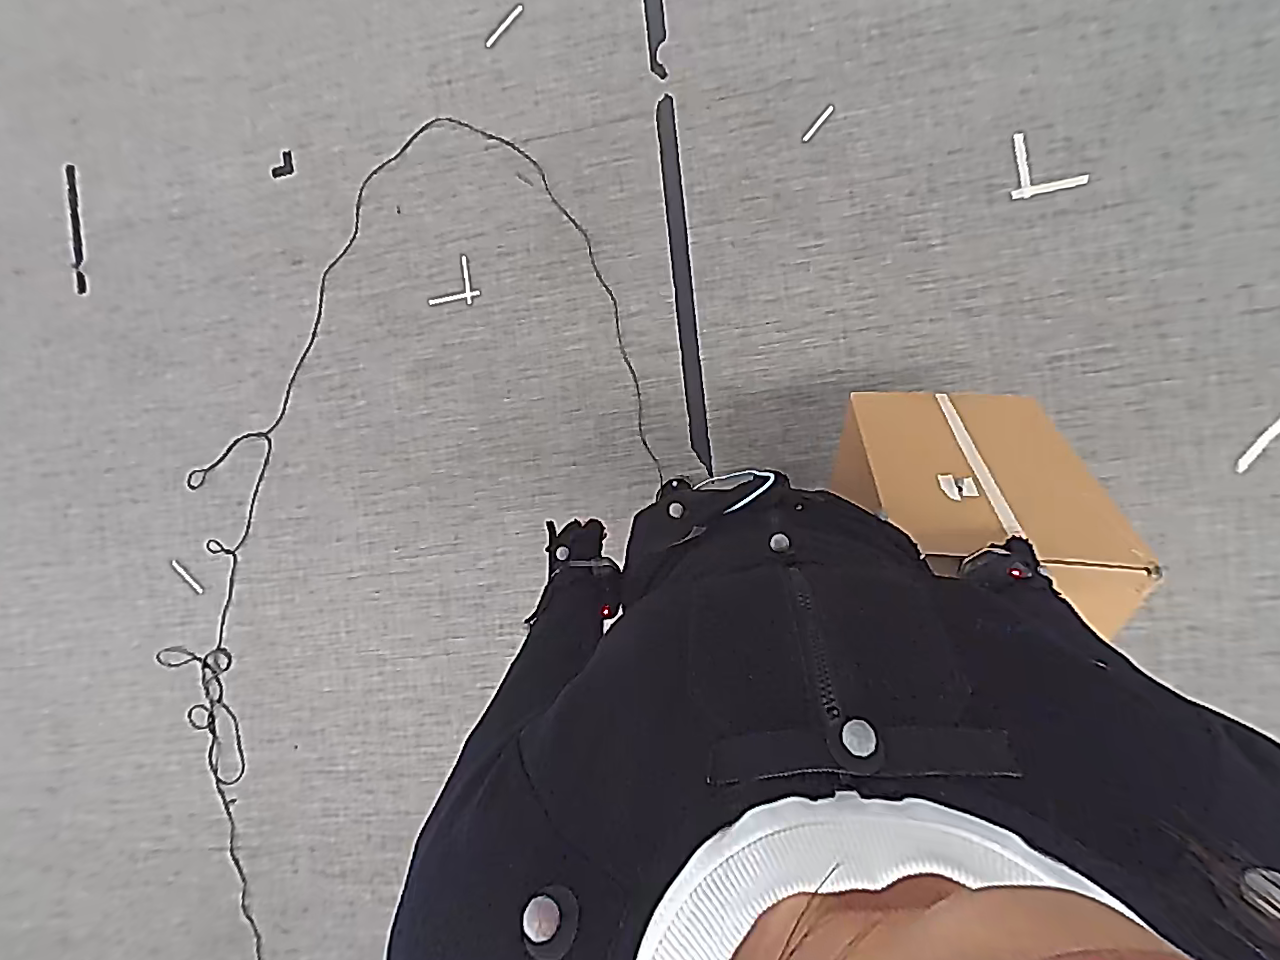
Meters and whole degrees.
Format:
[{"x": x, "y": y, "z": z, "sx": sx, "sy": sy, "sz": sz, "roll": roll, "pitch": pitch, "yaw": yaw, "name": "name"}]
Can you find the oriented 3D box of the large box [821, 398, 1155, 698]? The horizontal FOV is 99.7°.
[{"x": 0.516, "y": 0.100, "z": 0.929, "sx": 0.320, "sy": 0.408, "sz": 0.320, "roll": 2, "pitch": 131, "yaw": 8, "name": "large box"}]
